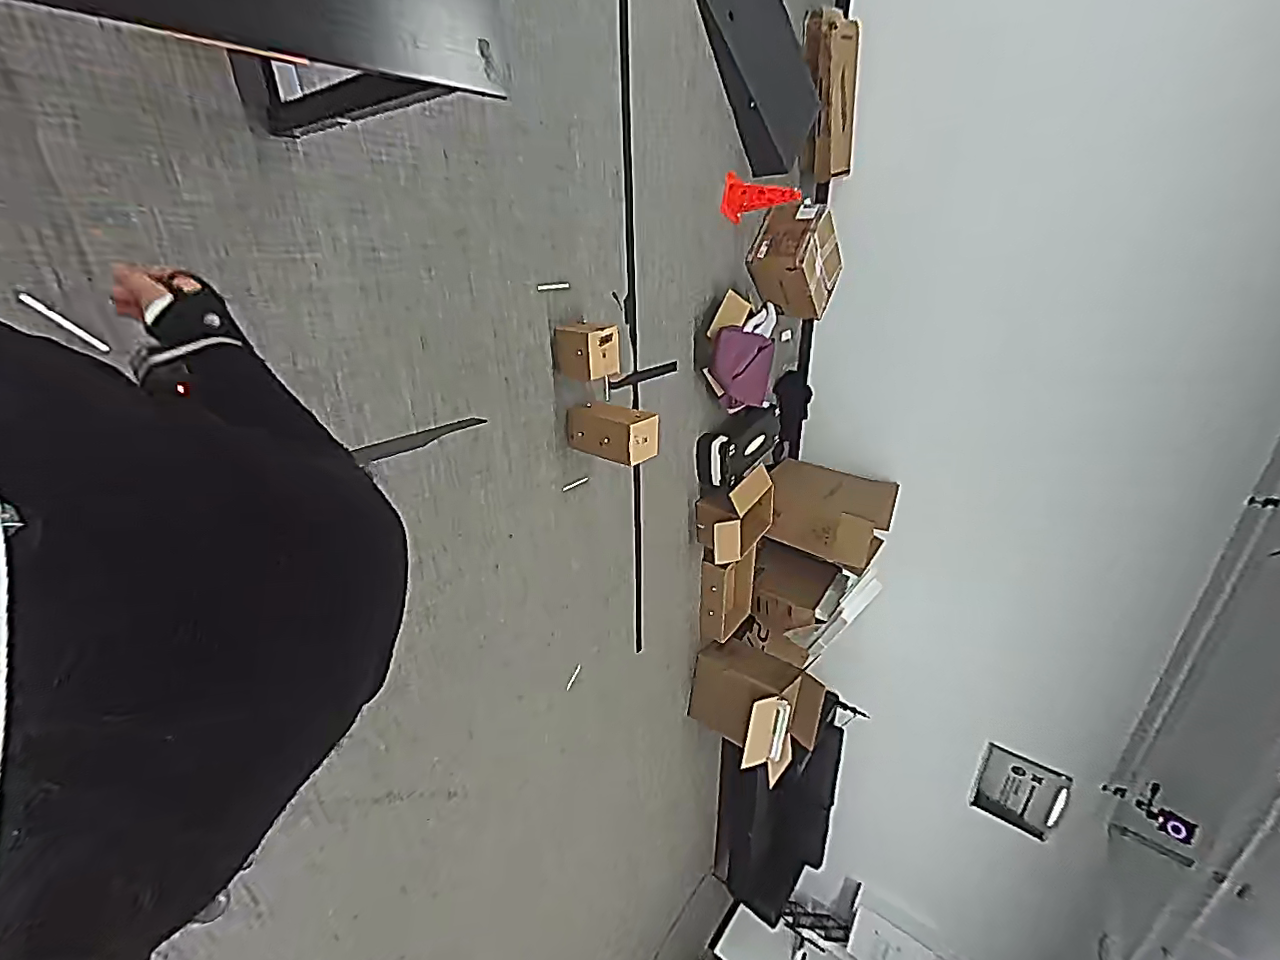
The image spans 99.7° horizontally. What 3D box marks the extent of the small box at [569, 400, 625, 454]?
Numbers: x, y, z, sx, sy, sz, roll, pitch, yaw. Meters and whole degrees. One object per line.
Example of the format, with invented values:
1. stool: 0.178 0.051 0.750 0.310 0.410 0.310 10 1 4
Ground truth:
1. small box: -0.177 -0.219 2.194 0.179 0.176 0.168 -28 126 -45

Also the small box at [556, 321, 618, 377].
1. small box: -0.201 -0.497 2.035 0.168 0.176 0.179 -30 128 -44

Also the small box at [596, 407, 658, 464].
1. small box: -0.051 -0.179 2.093 0.179 0.176 0.168 -26 124 -46
